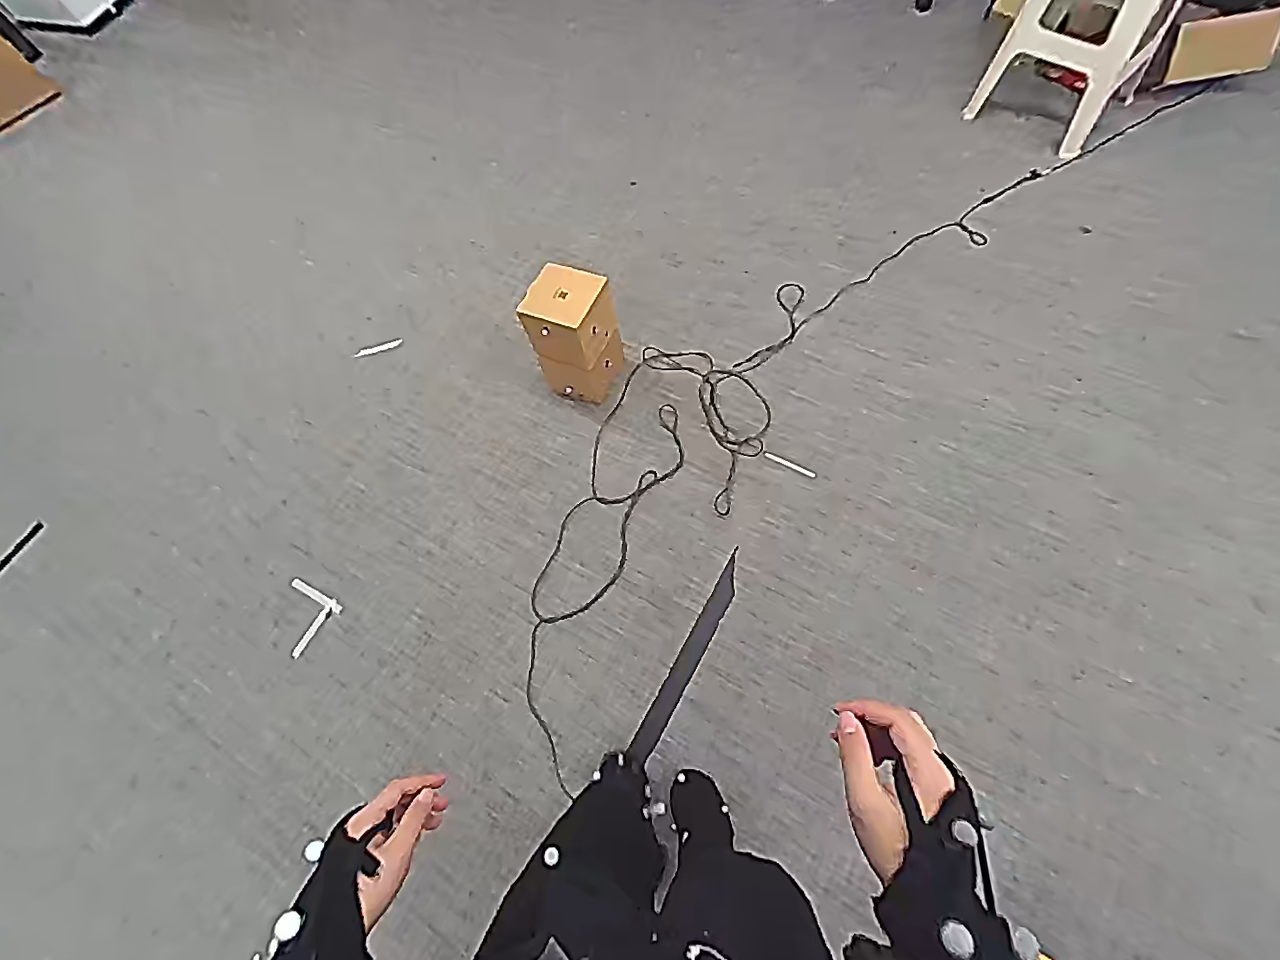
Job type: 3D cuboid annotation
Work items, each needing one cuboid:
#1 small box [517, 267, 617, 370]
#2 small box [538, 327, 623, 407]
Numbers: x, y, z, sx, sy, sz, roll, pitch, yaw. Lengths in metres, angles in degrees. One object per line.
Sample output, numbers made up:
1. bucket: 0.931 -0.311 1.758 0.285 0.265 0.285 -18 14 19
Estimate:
1. small box: -0.175 -0.403 1.374 0.179 0.176 0.168 20 71 17
2. small box: -0.158 -0.337 1.521 0.168 0.176 0.179 18 70 16
